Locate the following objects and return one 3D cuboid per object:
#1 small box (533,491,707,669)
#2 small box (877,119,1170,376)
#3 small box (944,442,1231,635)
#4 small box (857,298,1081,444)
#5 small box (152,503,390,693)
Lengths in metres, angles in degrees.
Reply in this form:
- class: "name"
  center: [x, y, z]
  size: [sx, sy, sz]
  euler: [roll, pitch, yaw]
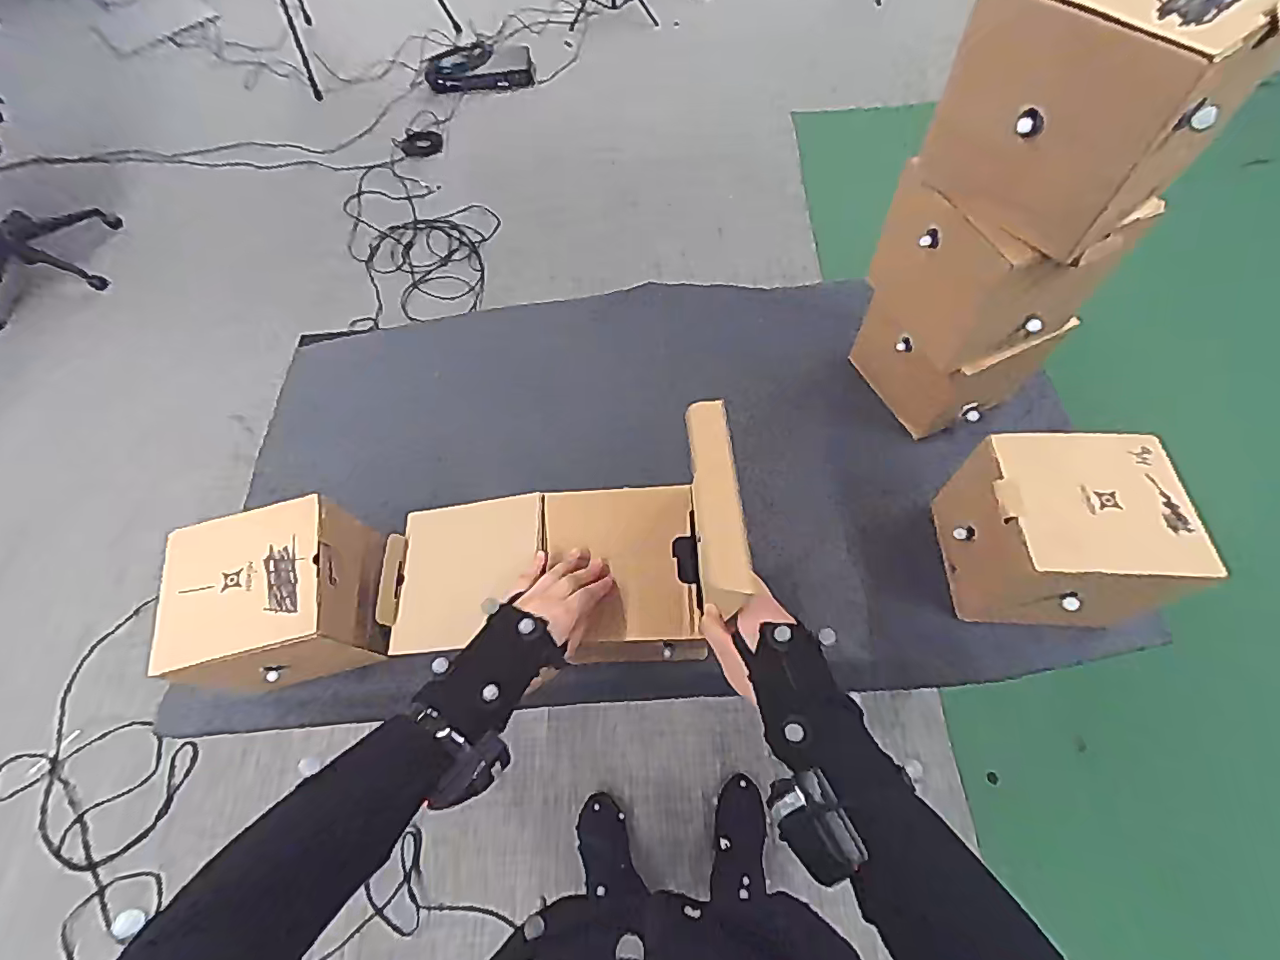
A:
- class: "small box"
  center: [-0.014, 0.125, 0.634]
  size: [0.179, 0.176, 0.168]
  euler: [-4, 64, 4]
- class: "small box"
  center: [0.397, -0.251, 0.605]
  size: [0.168, 0.176, 0.179]
  euler: [-21, 64, -2]
- class: "small box"
  center: [0.472, 0.071, 0.615]
  size: [0.179, 0.176, 0.168]
  euler: [1, 59, 6]
- class: "small box"
  center: [0.434, -0.181, 0.752]
  size: [0.168, 0.176, 0.179]
  euler: [-25, 66, -5]
- class: "small box"
  center: [-0.420, 0.149, 0.653]
  size: [0.179, 0.176, 0.168]
  euler: [-14, 64, -2]
